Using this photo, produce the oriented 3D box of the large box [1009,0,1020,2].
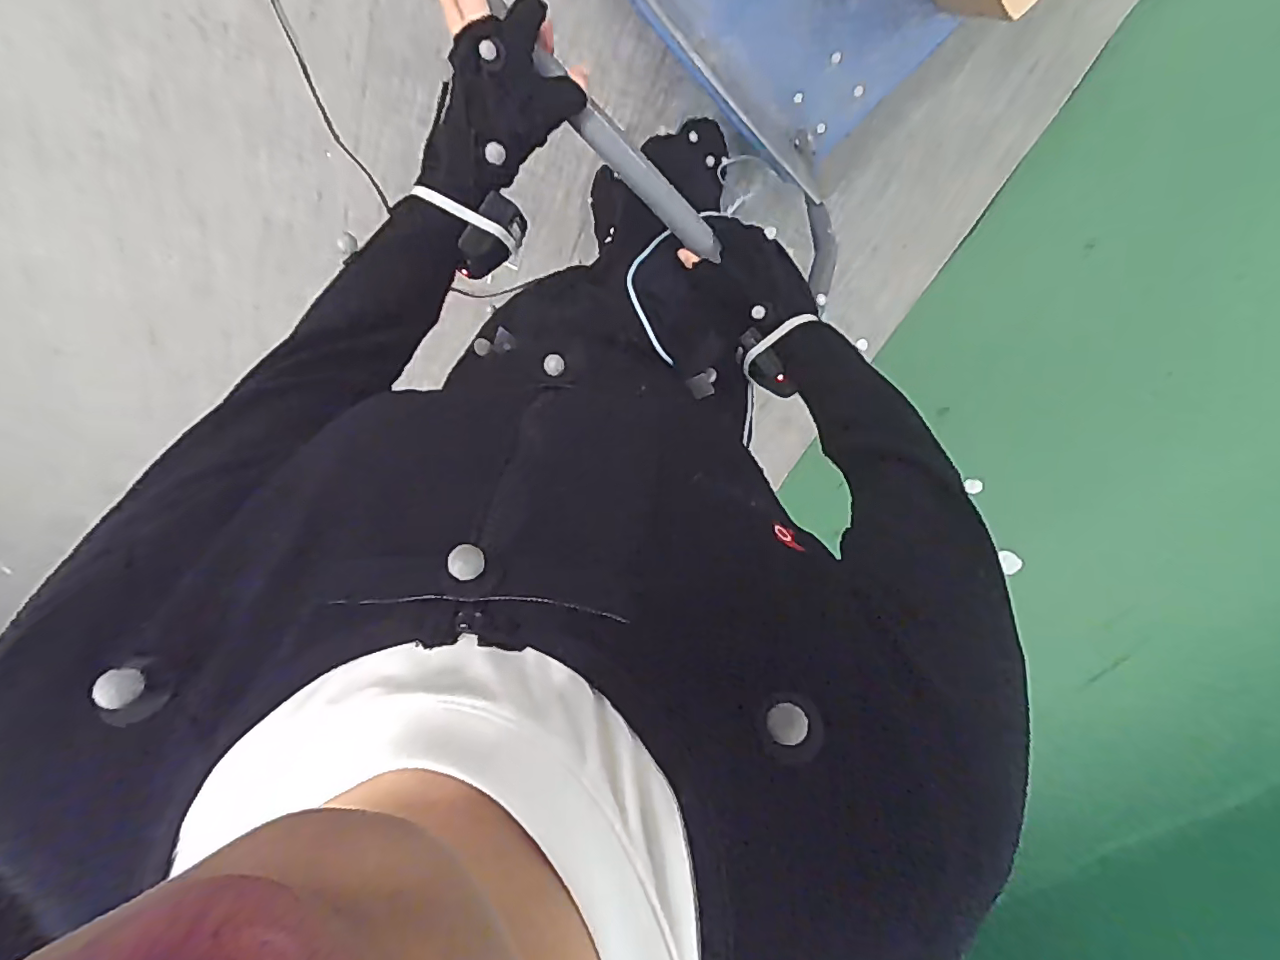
[{"bbox_3d":[0.434,-0.874,0.620,0.408,0.320,0.320,35,130,-21],"label":"large box"}]
